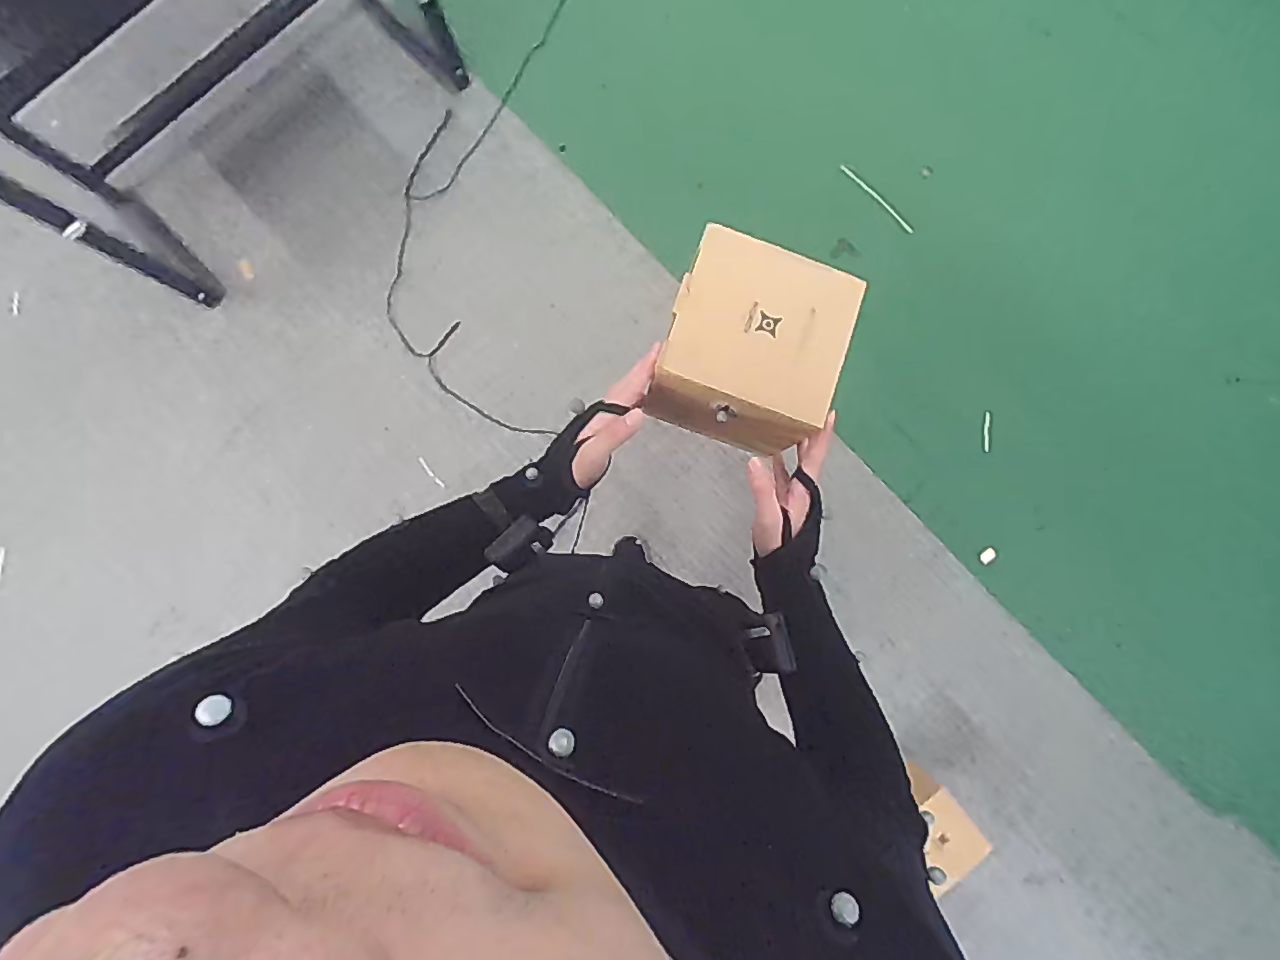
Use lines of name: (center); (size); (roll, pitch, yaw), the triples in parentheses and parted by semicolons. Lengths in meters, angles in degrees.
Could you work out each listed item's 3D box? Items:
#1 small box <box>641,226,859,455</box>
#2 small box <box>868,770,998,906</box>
small box: (0.108, -0.139, 0.607); (0.179, 0.176, 0.168); (19, 80, -2)
small box: (0.679, 0.830, 1.276); (0.179, 0.176, 0.168); (-38, 82, -2)
